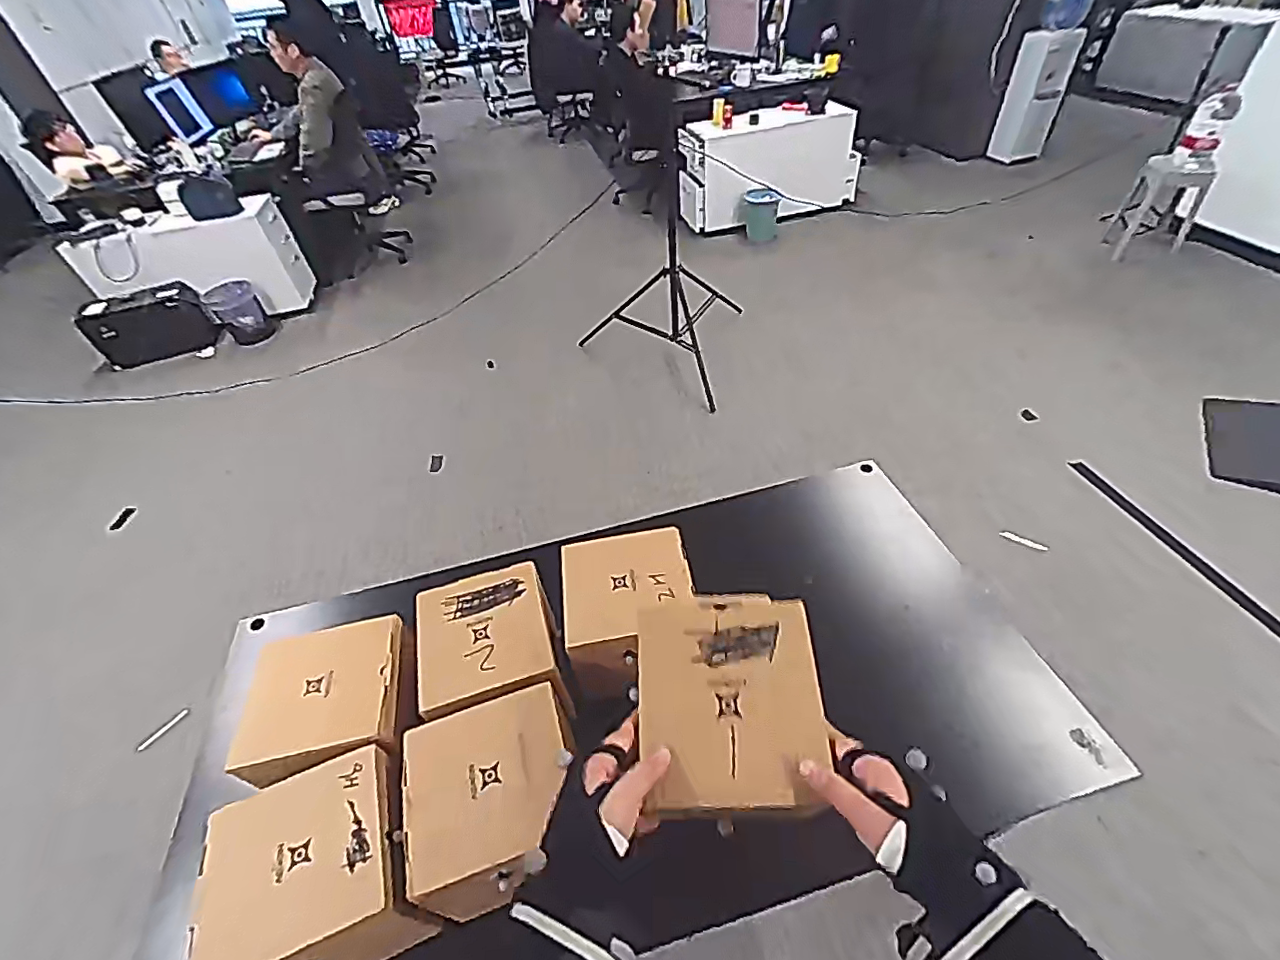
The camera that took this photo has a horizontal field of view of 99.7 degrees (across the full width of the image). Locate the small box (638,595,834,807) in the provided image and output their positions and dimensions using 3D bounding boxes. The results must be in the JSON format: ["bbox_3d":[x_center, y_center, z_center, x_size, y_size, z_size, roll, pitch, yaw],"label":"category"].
[{"bbox_3d":[0.085,0.233,0.561,0.168,0.176,0.179,-3,57,3],"label":"small box"}]
